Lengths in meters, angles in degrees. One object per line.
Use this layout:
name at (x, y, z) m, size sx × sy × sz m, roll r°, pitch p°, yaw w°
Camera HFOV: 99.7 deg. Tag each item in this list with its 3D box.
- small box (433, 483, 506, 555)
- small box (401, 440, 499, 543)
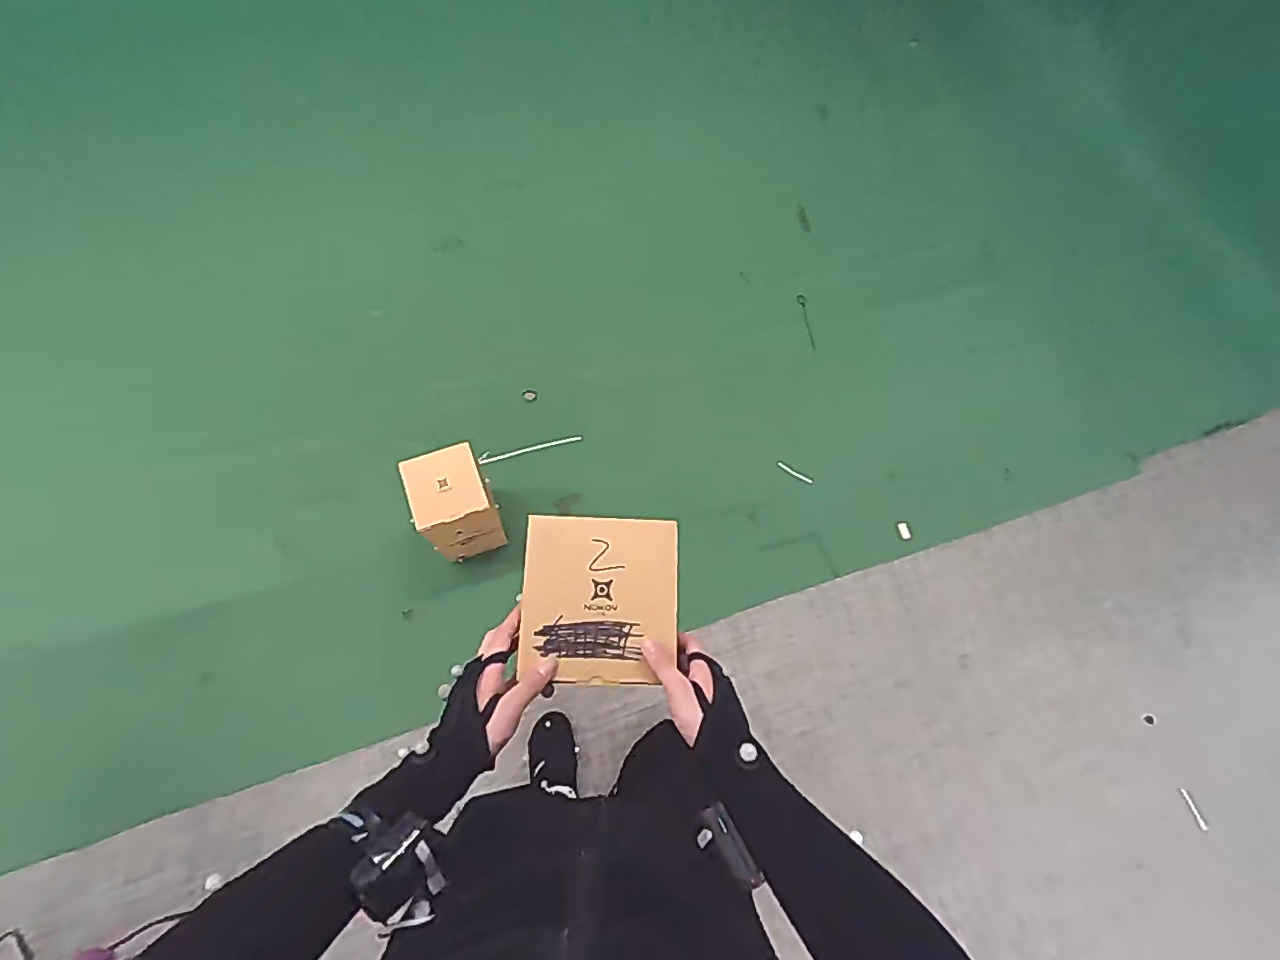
small box at (-0.470, 0.094, 1.459) m, size 0.168 × 0.176 × 0.179 m, roll -18°, pitch 73°, yaw -12°
small box at (-0.454, 0.033, 1.309) m, size 0.168 × 0.176 × 0.179 m, roll -19°, pitch 74°, yaw -13°
